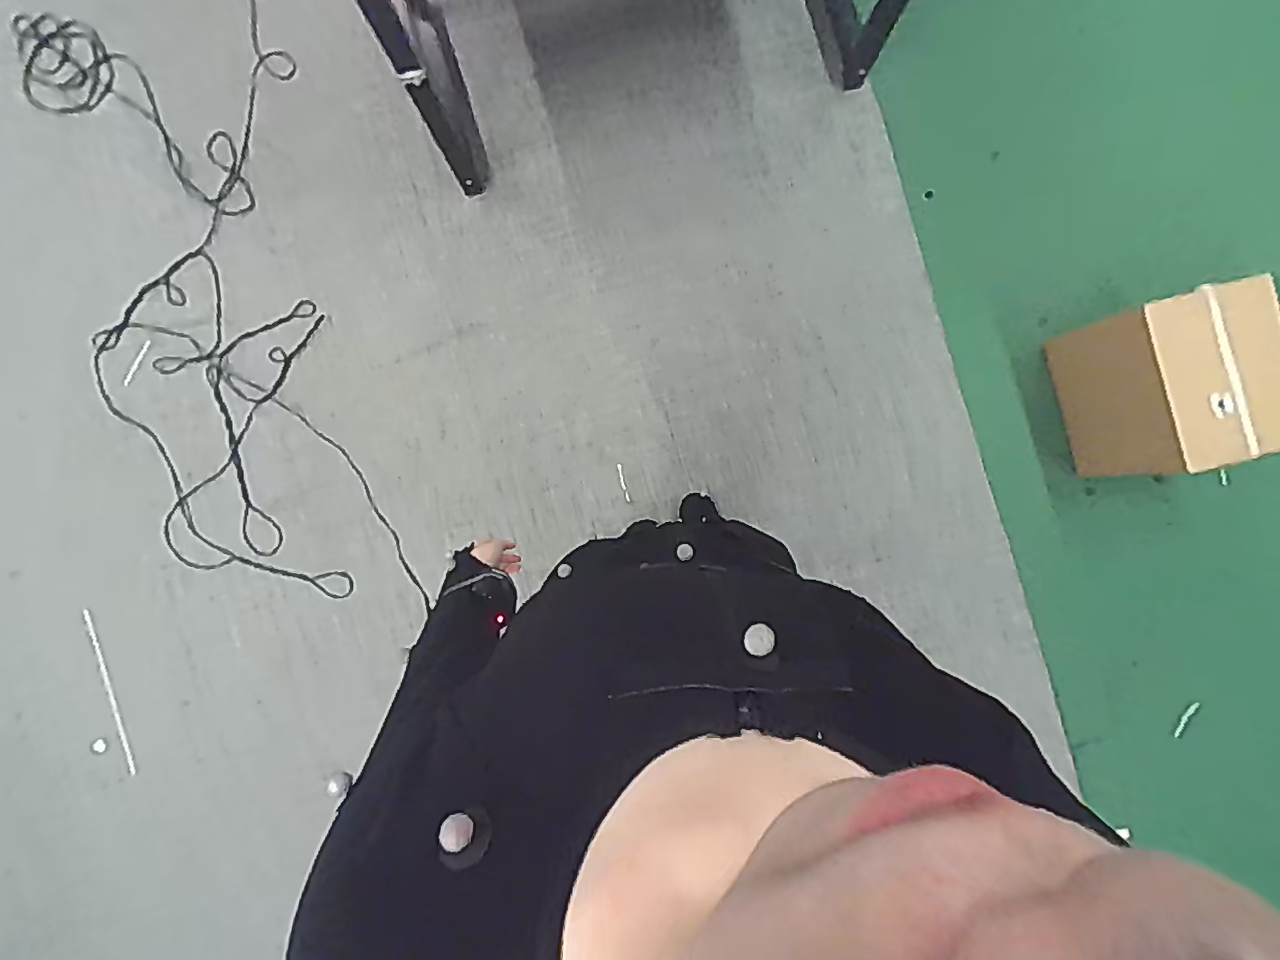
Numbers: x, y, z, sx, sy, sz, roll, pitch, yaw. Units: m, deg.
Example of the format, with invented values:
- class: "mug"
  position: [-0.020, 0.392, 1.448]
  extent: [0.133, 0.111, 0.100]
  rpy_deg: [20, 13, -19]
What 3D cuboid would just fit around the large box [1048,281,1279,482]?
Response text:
- class: "large box"
  position: [1.339, -0.225, 1.371]
  extent: [0.320, 0.320, 0.408]
  rpy_deg: [-14, 89, -1]
